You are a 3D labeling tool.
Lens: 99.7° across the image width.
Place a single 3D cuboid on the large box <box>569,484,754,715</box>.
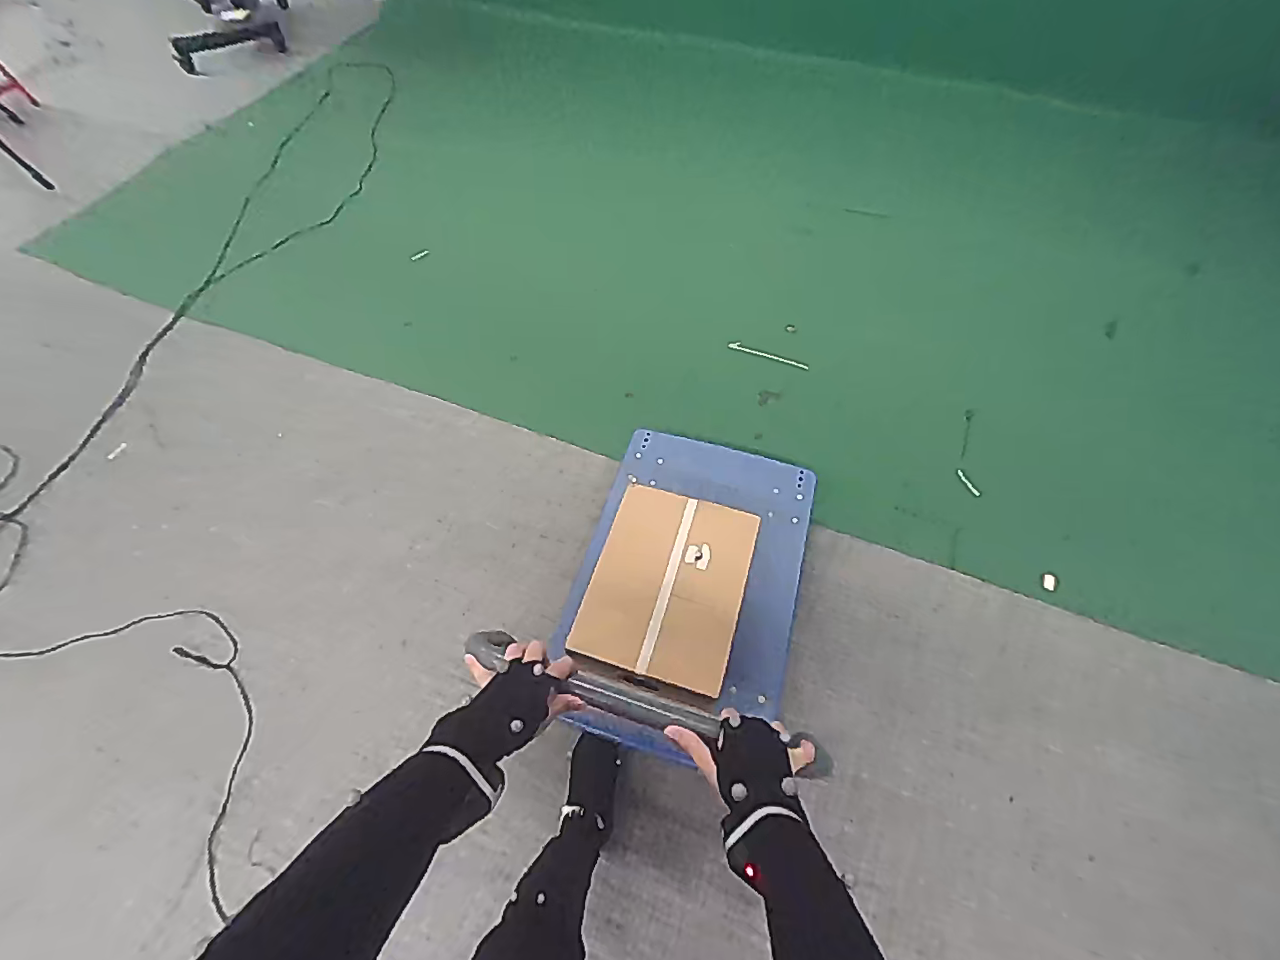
[{"bbox_3d":[0.059,0.283,1.269,0.320,0.320,0.408,15,59,9],"label":"large box"}]
